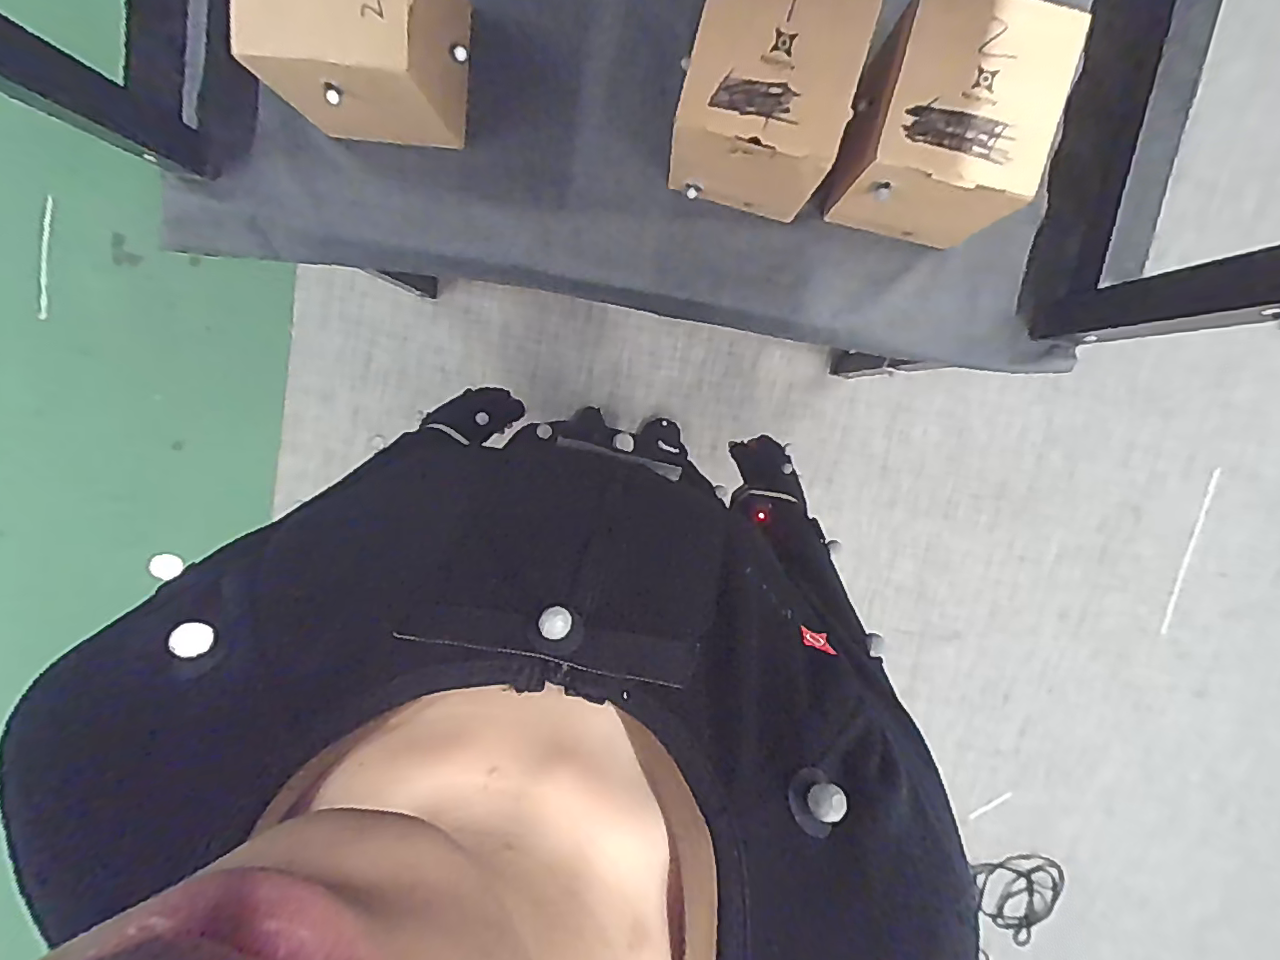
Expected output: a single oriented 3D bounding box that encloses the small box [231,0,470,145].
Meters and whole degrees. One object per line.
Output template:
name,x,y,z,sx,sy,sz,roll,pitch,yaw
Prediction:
small box,-0.305,-0.500,0.598,0.179,0.176,0.168,6,99,-1
